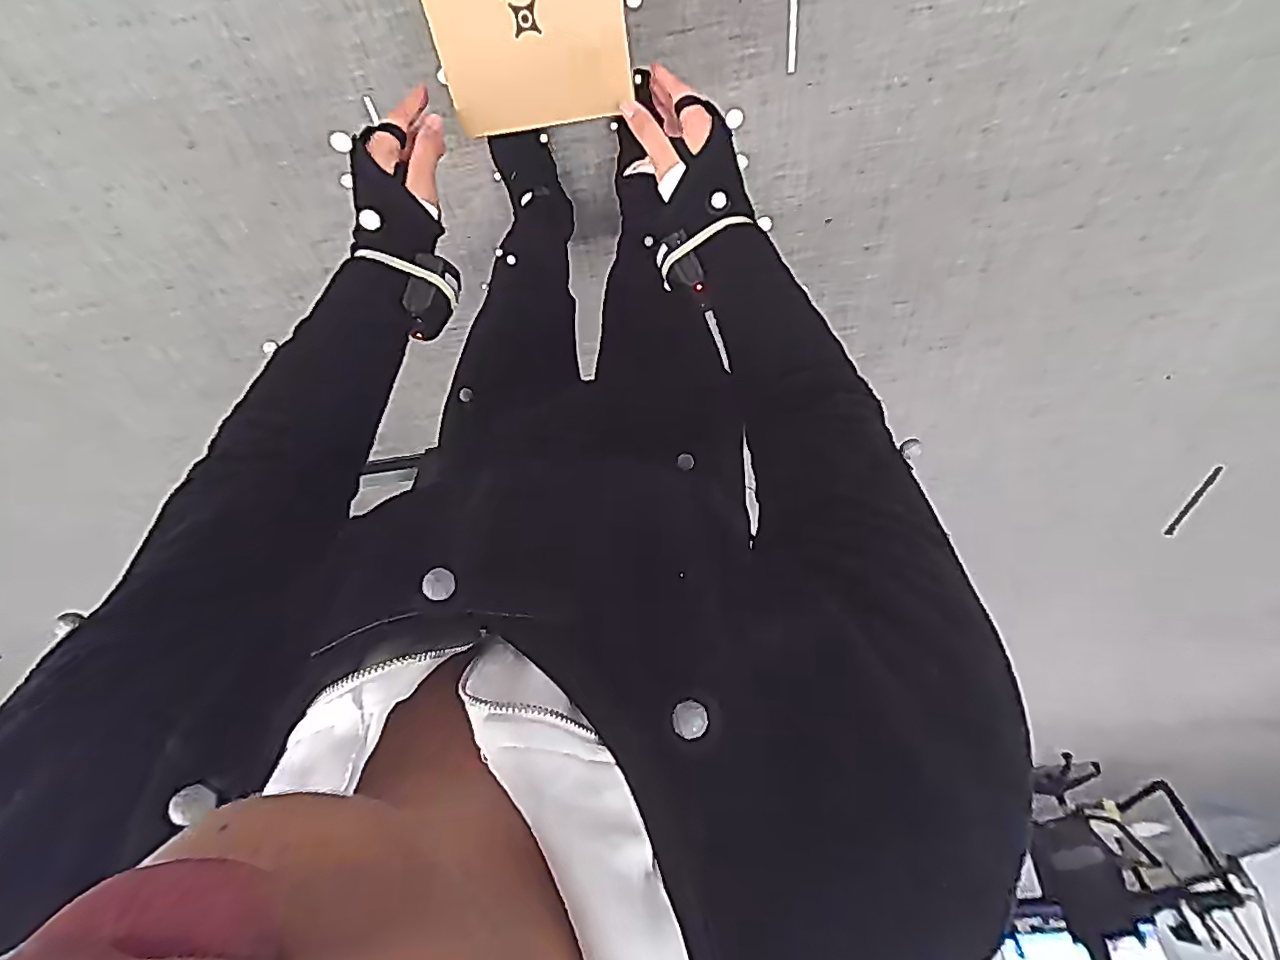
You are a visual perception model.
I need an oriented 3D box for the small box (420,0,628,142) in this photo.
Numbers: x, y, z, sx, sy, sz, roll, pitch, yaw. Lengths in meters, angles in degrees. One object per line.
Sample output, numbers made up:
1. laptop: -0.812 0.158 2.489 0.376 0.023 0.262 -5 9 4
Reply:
1. small box: -0.101 -0.448 0.510 0.168 0.176 0.179 -7 133 3
